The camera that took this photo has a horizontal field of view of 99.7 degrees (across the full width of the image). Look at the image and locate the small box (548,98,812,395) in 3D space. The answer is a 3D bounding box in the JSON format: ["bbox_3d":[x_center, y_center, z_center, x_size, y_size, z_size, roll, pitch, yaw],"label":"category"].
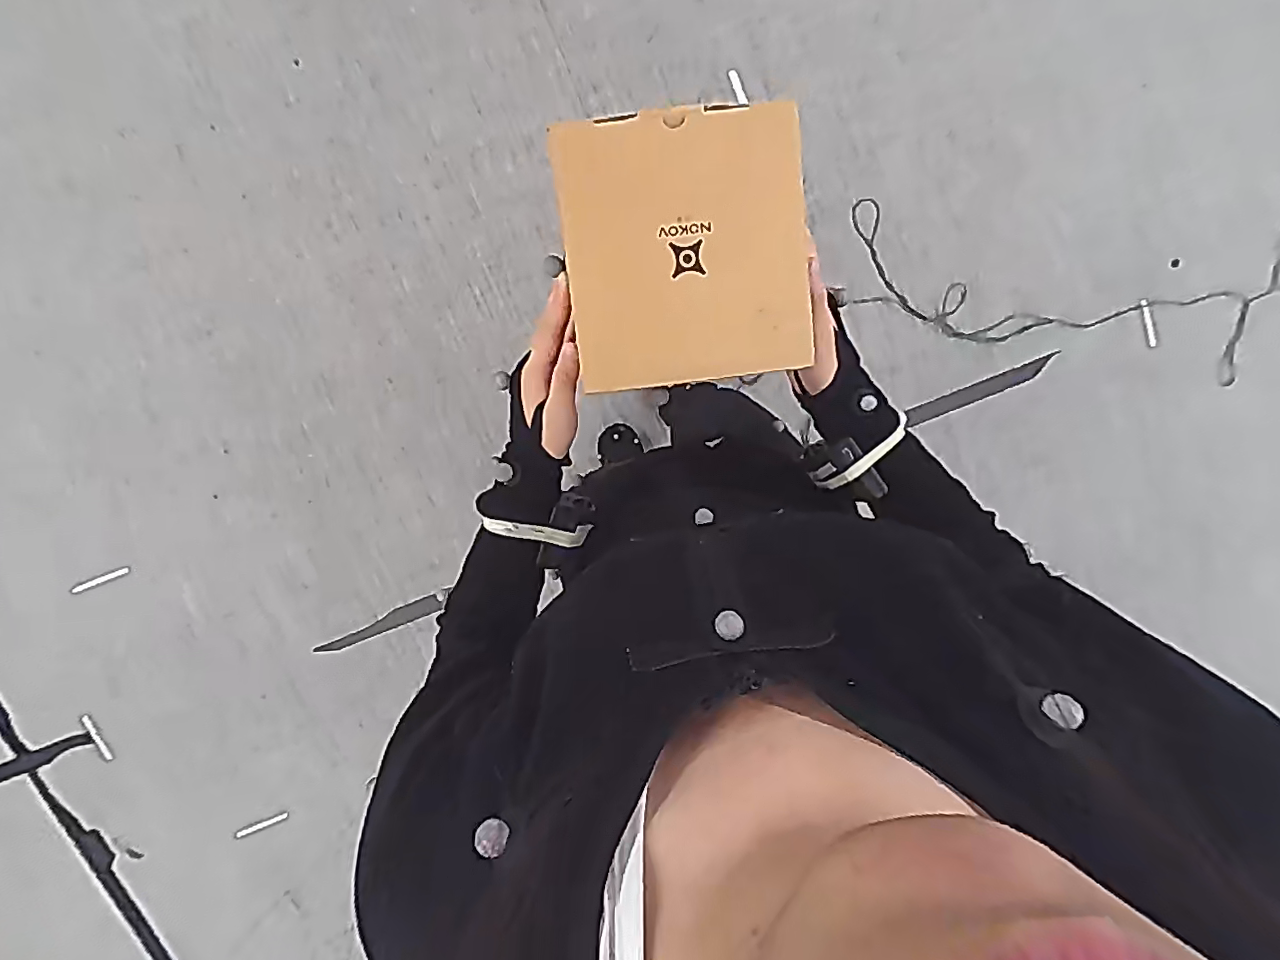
[{"bbox_3d":[0.027,-0.167,0.442,0.168,0.176,0.179,-8,99,-3],"label":"small box"}]
